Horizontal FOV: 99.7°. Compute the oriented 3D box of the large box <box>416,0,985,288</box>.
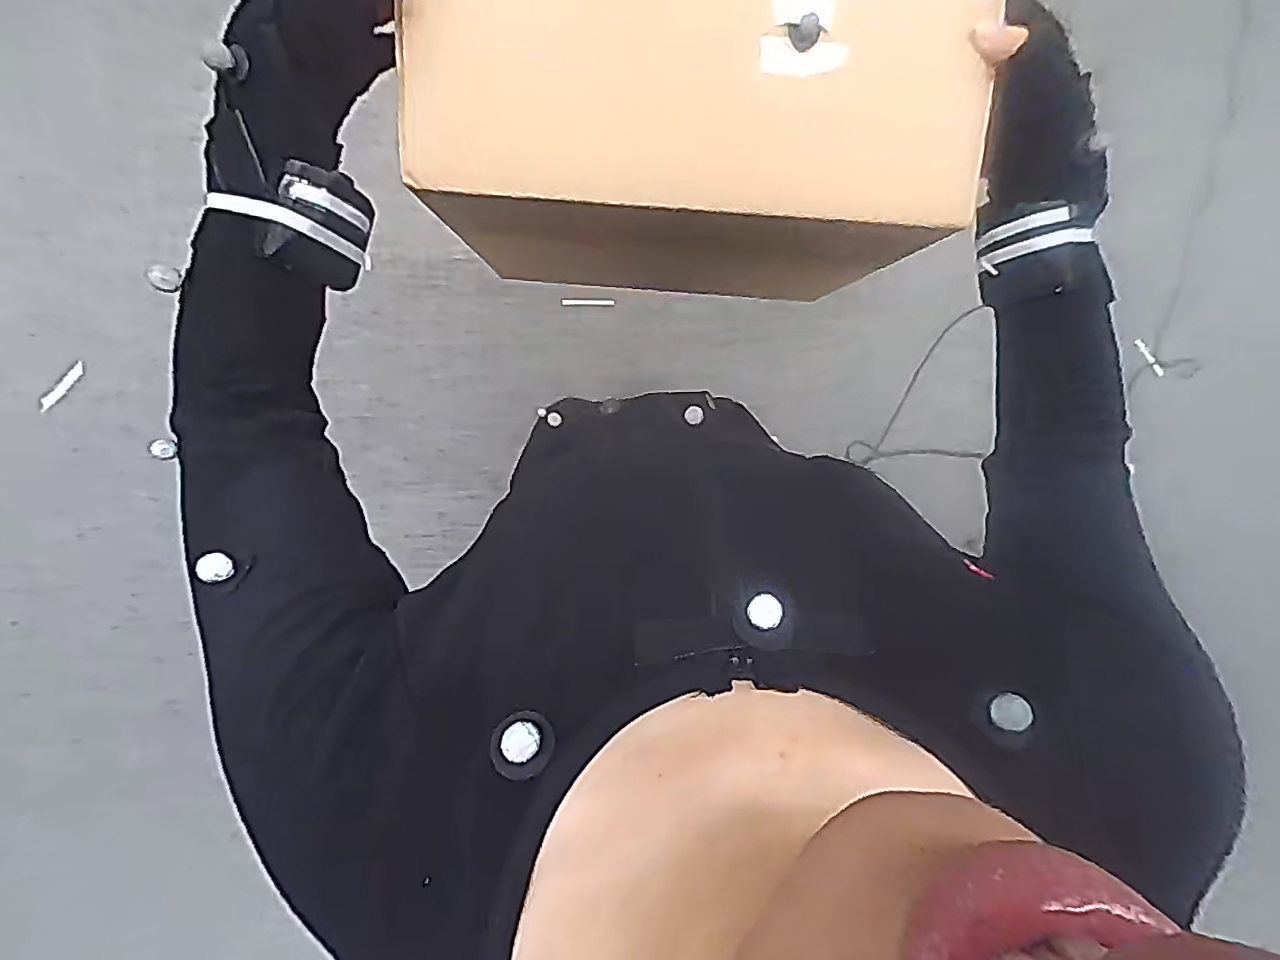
[{"bbox_3d":[0.038,-0.380,0.518,0.408,0.320,0.320,2,100,-3],"label":"large box"}]
